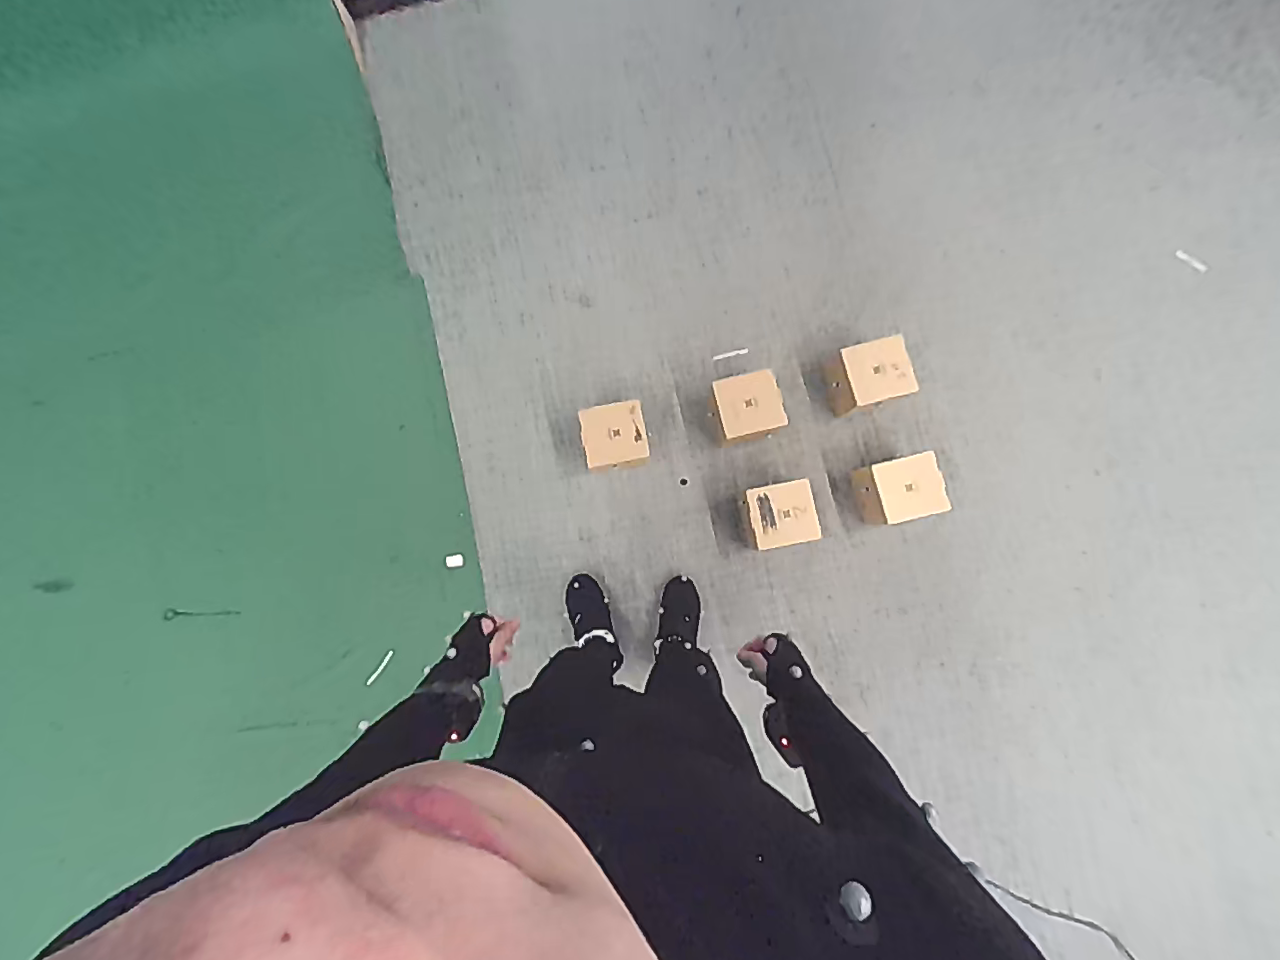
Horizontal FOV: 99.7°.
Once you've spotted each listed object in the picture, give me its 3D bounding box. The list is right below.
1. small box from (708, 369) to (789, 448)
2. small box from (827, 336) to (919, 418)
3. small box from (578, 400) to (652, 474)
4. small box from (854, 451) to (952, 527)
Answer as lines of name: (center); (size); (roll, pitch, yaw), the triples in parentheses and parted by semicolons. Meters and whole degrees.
small box: (0.302, -0.197, 1.537); (0.179, 0.176, 0.168); (-13, 83, 1)
small box: (0.649, -0.285, 1.534); (0.179, 0.176, 0.168); (-14, 84, 0)
small box: (-0.067, -0.116, 1.541); (0.179, 0.176, 0.168); (-10, 84, 1)
small box: (0.717, 0.031, 1.502); (0.179, 0.176, 0.168); (-14, 83, -1)
